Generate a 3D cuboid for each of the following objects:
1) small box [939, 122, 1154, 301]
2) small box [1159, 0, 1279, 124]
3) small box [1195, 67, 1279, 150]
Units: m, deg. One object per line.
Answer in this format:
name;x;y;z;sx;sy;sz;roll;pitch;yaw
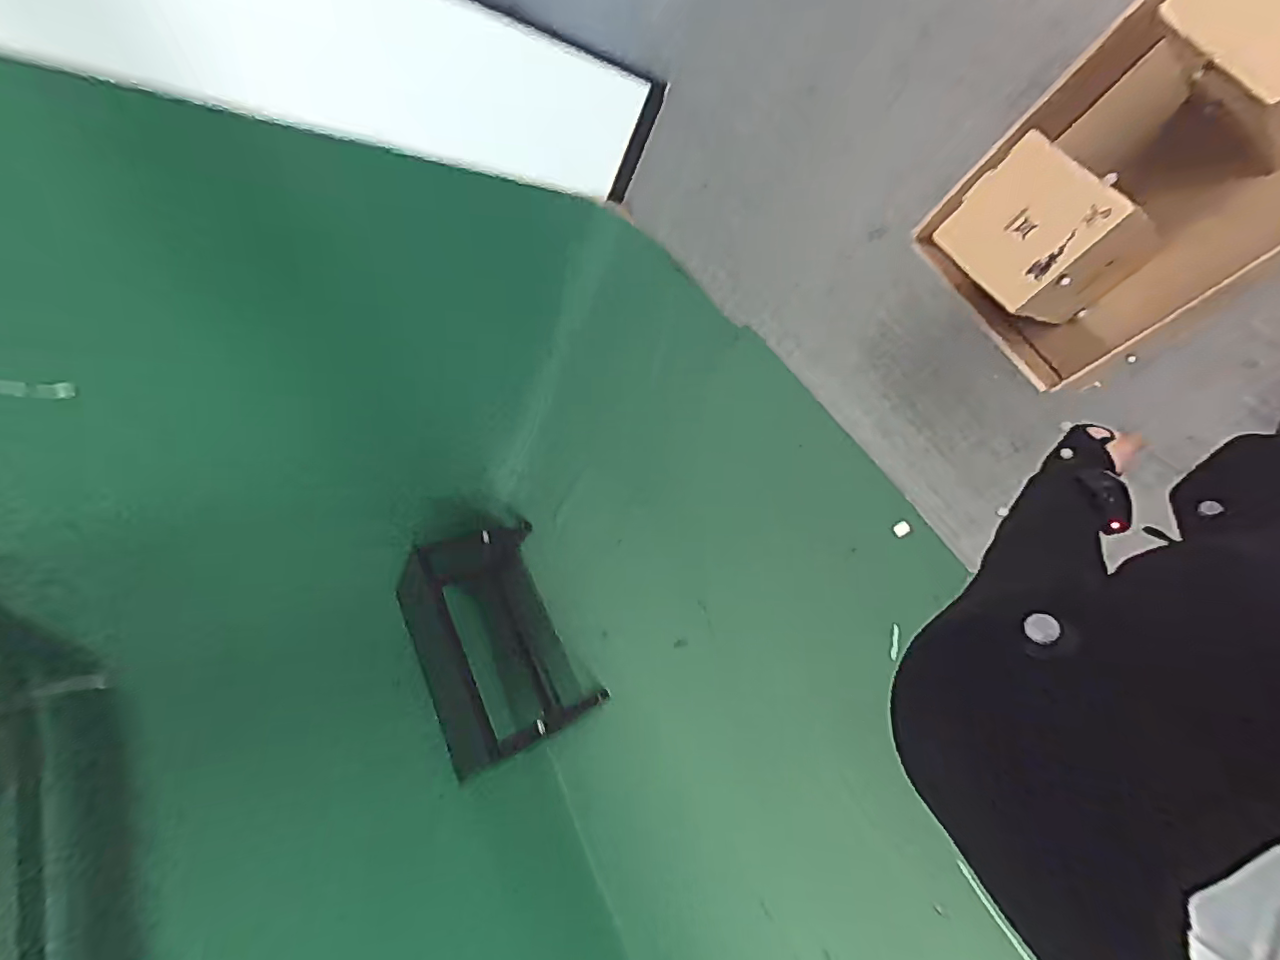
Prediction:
small box;0.598;-0.383;0.802;0.179;0.176;0.168;60;139;22
small box;0.737;-0.536;0.596;0.168;0.176;0.179;-45;64;47
small box;0.865;-0.563;0.694;0.168;0.176;0.179;-45;65;47
